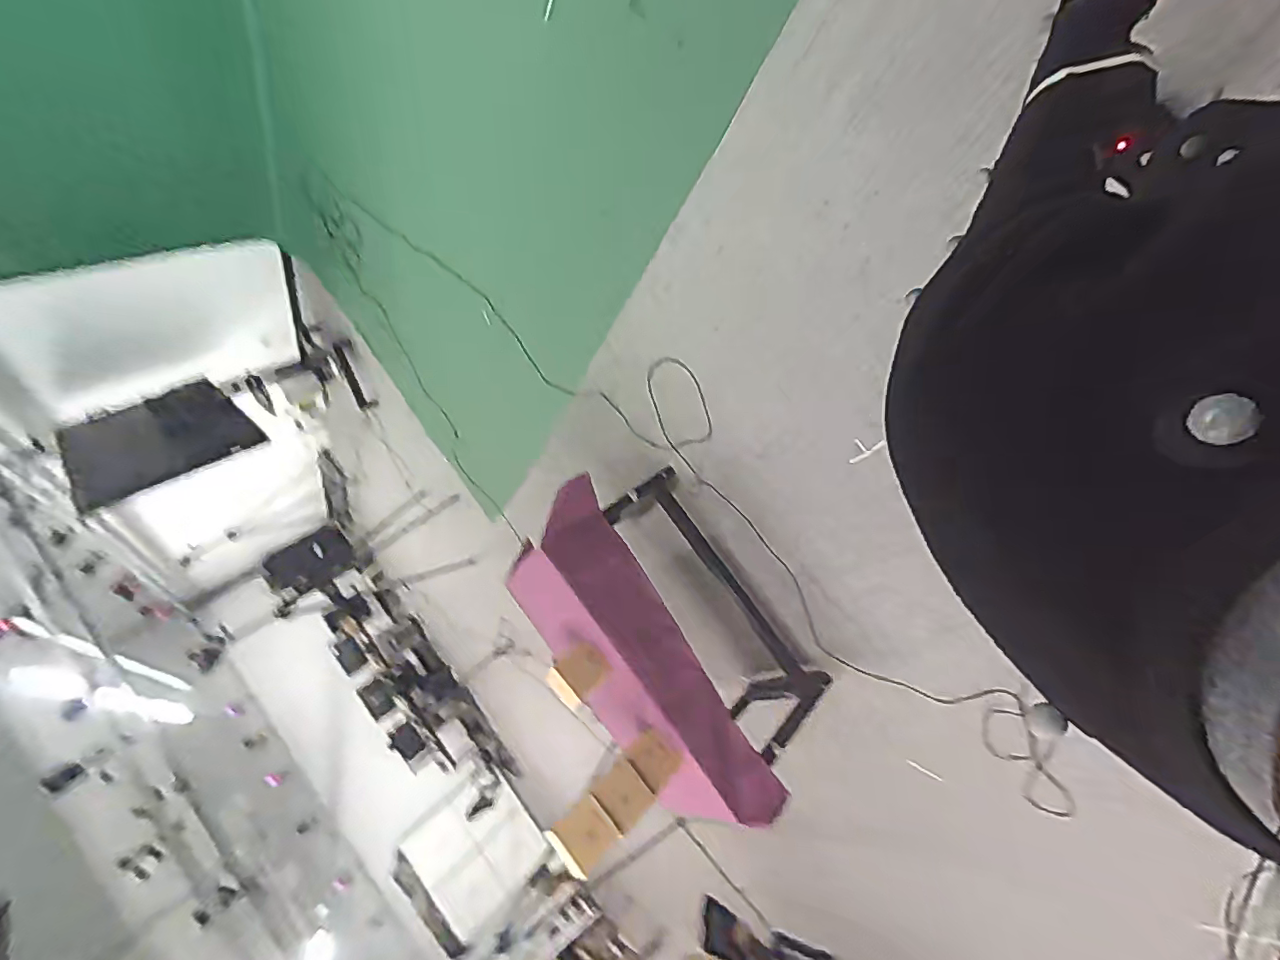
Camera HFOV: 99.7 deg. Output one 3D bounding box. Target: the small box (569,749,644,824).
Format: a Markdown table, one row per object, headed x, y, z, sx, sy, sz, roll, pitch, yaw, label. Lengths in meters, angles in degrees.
| x | y | z | sx | sy | sz | roll | pitch | yaw | label |
| --- | --- | --- | --- | --- | --- | --- | --- | --- | --- |
| -0.118 | 1.084 | 1.924 | 0.179 | 0.176 | 0.168 | 50 | 144 | 10 | small box |

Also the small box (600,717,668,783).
| x | y | z | sx | sy | sz | roll | pitch | yaw | label |
| --- | --- | --- | --- | --- | --- | --- | --- | --- | --- |
| -0.018 | 1.019 | 2.039 | 0.168 | 0.176 | 0.179 | 51 | 145 | 10 | small box |

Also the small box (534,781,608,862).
| x | y | z | sx | sy | sz | roll | pitch | yaw | label |
| --- | --- | --- | --- | --- | --- | --- | --- | --- | --- |
| -0.230 | 1.145 | 1.822 | 0.168 | 0.176 | 0.179 | 48 | 144 | 13 | small box |

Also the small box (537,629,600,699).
| x | y | z | sx | sy | sz | roll | pitch | yaw | label |
| --- | --- | --- | --- | --- | --- | --- | --- | --- | --- |
| -0.277 | 0.713 | 2.101 | 0.168 | 0.176 | 0.179 | 46 | 144 | 14 | small box |
